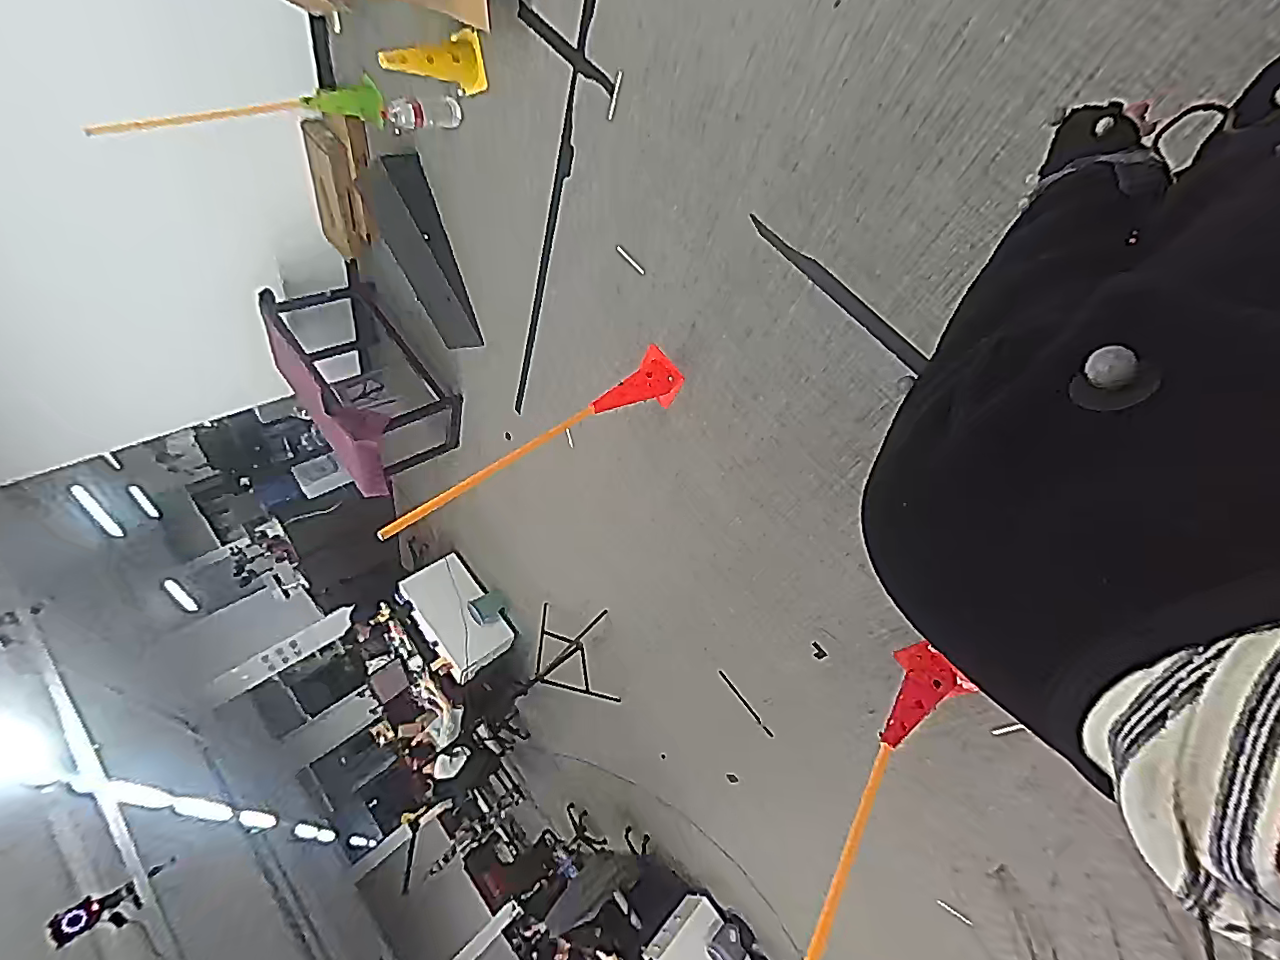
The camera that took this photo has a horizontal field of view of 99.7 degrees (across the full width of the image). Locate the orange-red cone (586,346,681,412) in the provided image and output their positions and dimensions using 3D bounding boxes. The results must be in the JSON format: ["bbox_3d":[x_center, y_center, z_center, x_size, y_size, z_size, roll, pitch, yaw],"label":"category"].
[{"bbox_3d":[-0.055,-0.330,2.020,0.199,0.360,0.198,52,145,12],"label":"orange-red cone"}]
